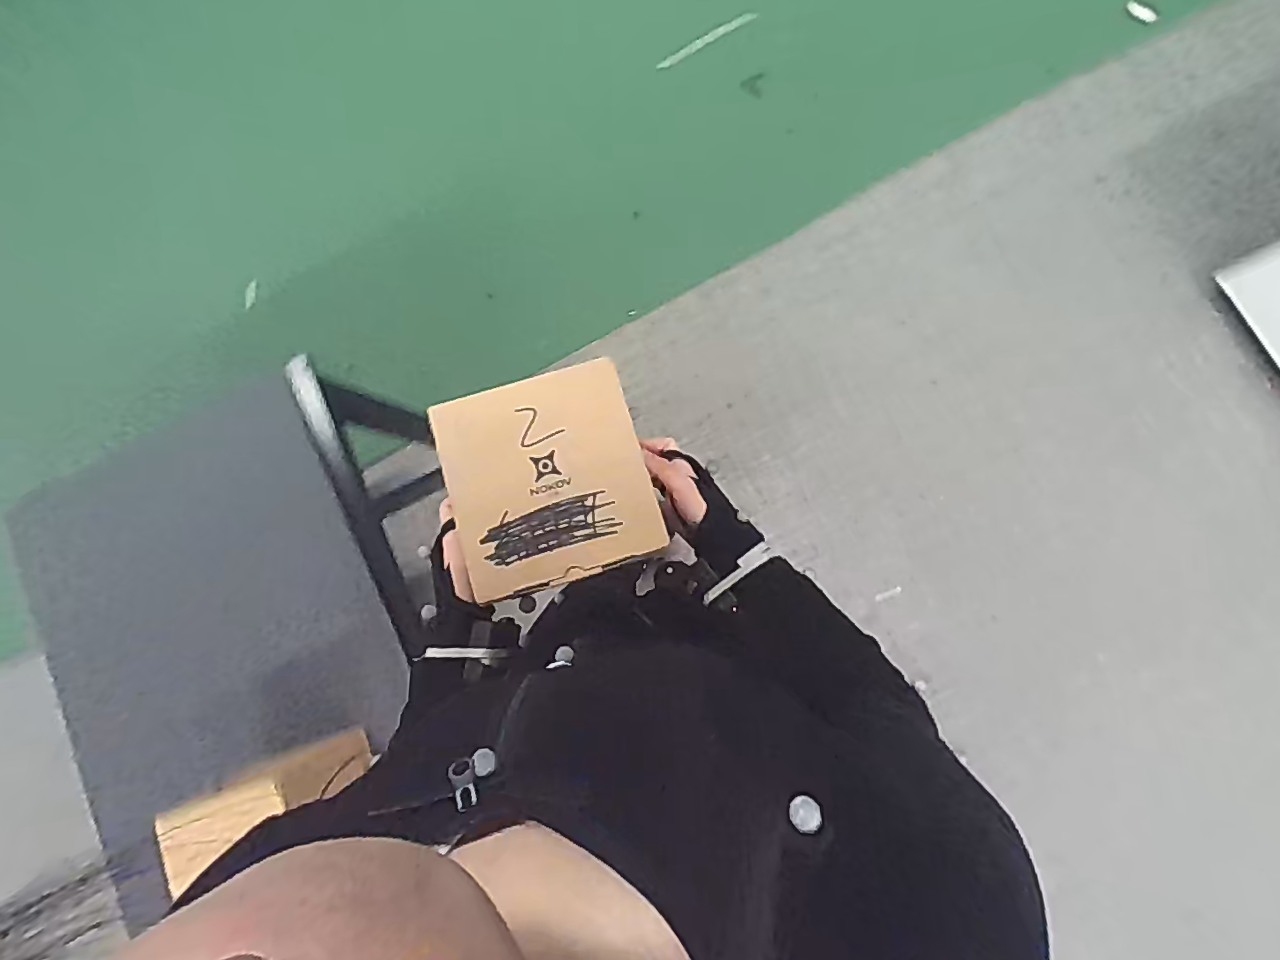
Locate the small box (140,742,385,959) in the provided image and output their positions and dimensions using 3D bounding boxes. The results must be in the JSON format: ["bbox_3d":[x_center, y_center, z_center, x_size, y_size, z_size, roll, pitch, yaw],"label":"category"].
[{"bbox_3d":[-0.473,0.472,0.699,0.179,0.176,0.168,-22,83,5],"label":"small box"}]
